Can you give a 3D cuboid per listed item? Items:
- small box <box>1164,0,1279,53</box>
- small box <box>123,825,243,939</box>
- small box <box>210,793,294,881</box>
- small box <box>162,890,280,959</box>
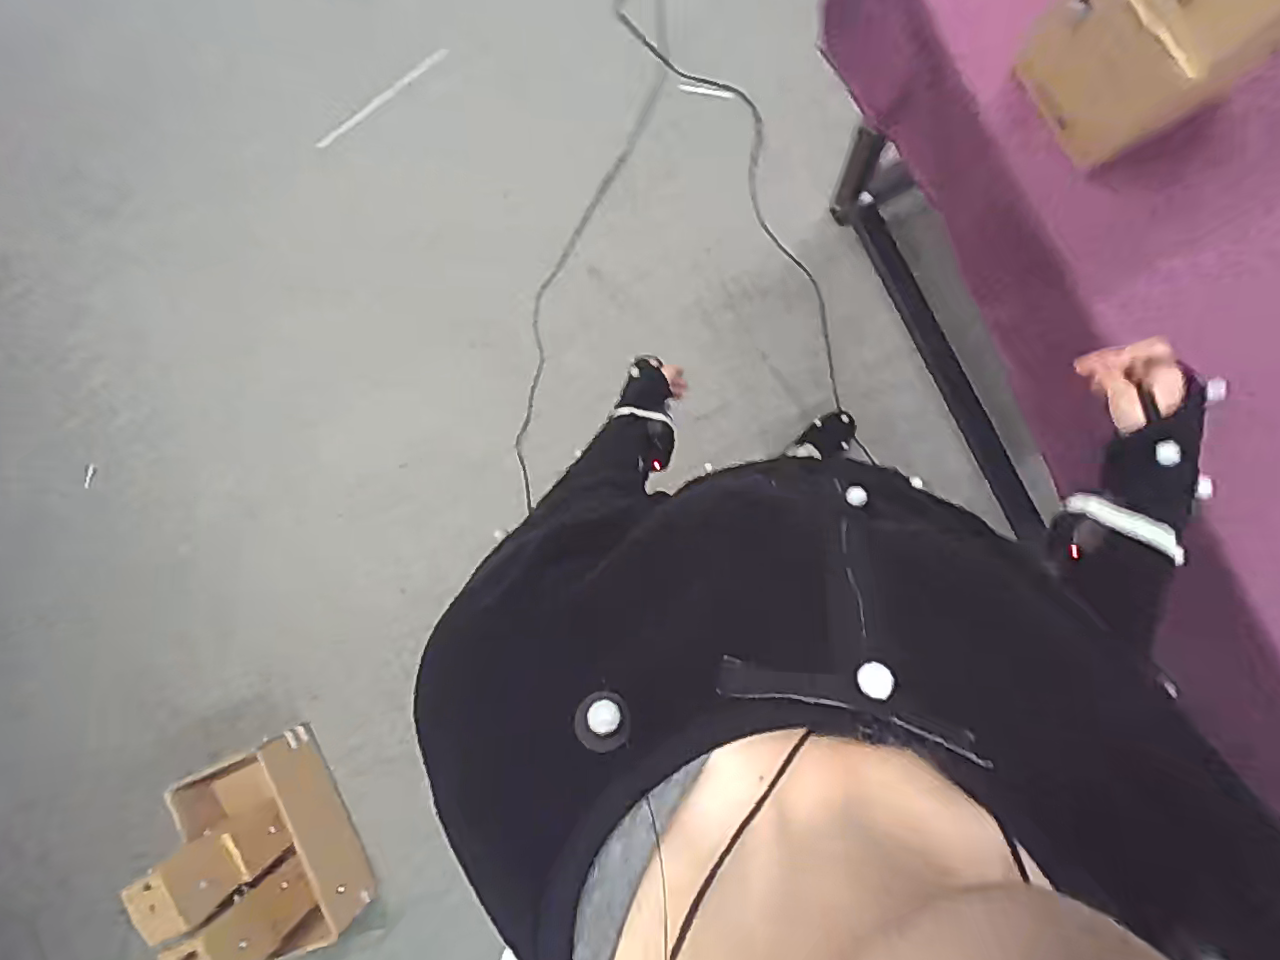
[{"bbox_3d":[0.523,-0.485,0.401,0.179,0.176,0.168,-31,87,10],"label":"small box"},{"bbox_3d":[-1.300,1.147,1.552,0.168,0.176,0.179,-30,89,11],"label":"small box"},{"bbox_3d":[-1.251,1.135,1.709,0.179,0.176,0.168,-26,90,11],"label":"small box"},{"bbox_3d":[-1.185,1.317,1.538,0.168,0.176,0.179,-30,87,10],"label":"small box"}]
